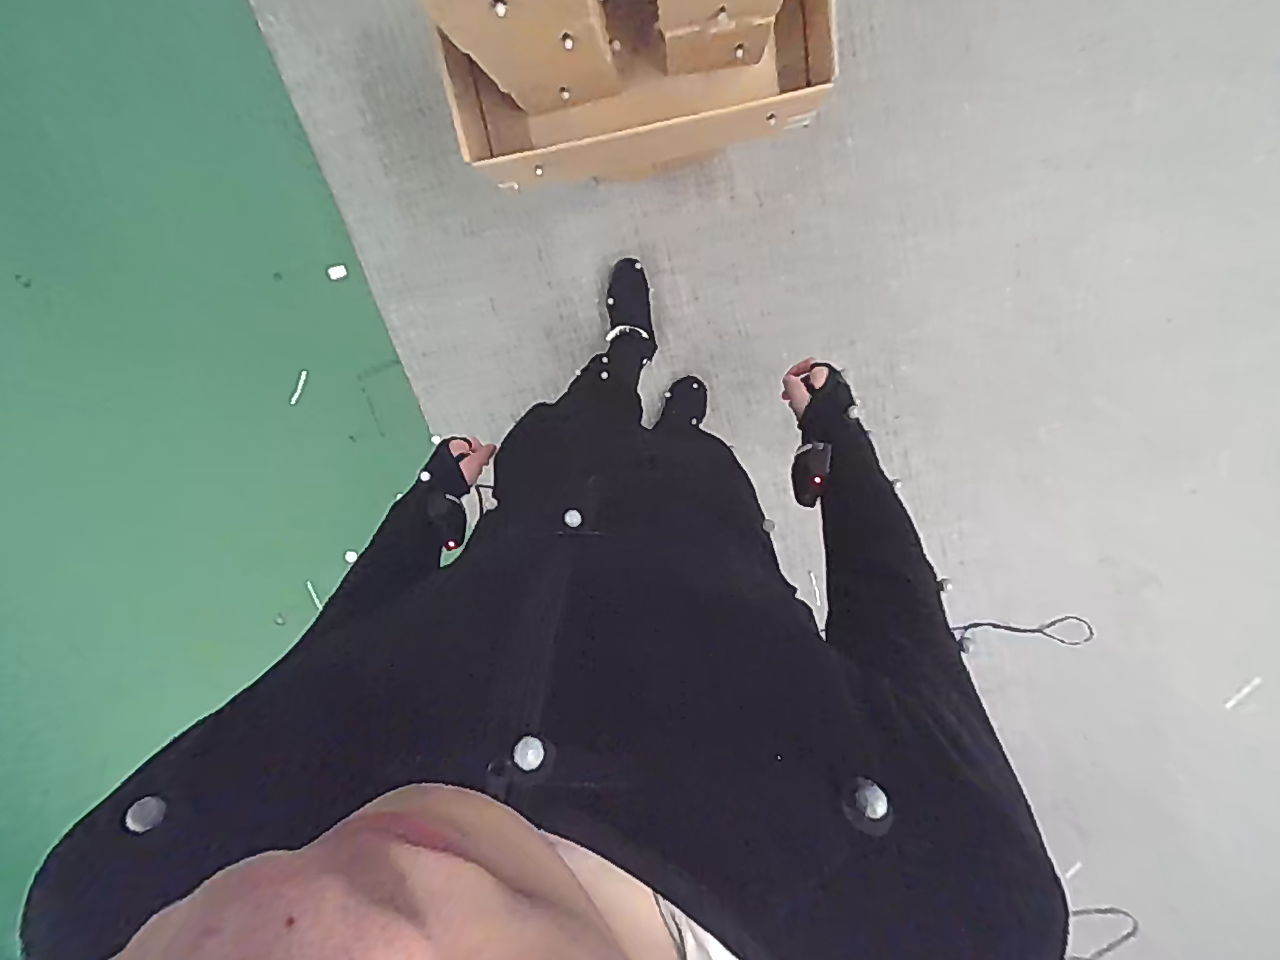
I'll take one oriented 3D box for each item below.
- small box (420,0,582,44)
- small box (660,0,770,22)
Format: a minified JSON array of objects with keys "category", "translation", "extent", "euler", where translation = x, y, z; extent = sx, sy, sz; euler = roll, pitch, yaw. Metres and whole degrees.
[{"category":"small box","translation":[-0.163,-0.617,0.583],"extent":[0.179,0.176,0.168],"euler":[-9,109,9]},{"category":"small box","translation":[0.104,-0.728,0.688],"extent":[0.179,0.176,0.168],"euler":[-5,110,7]}]
